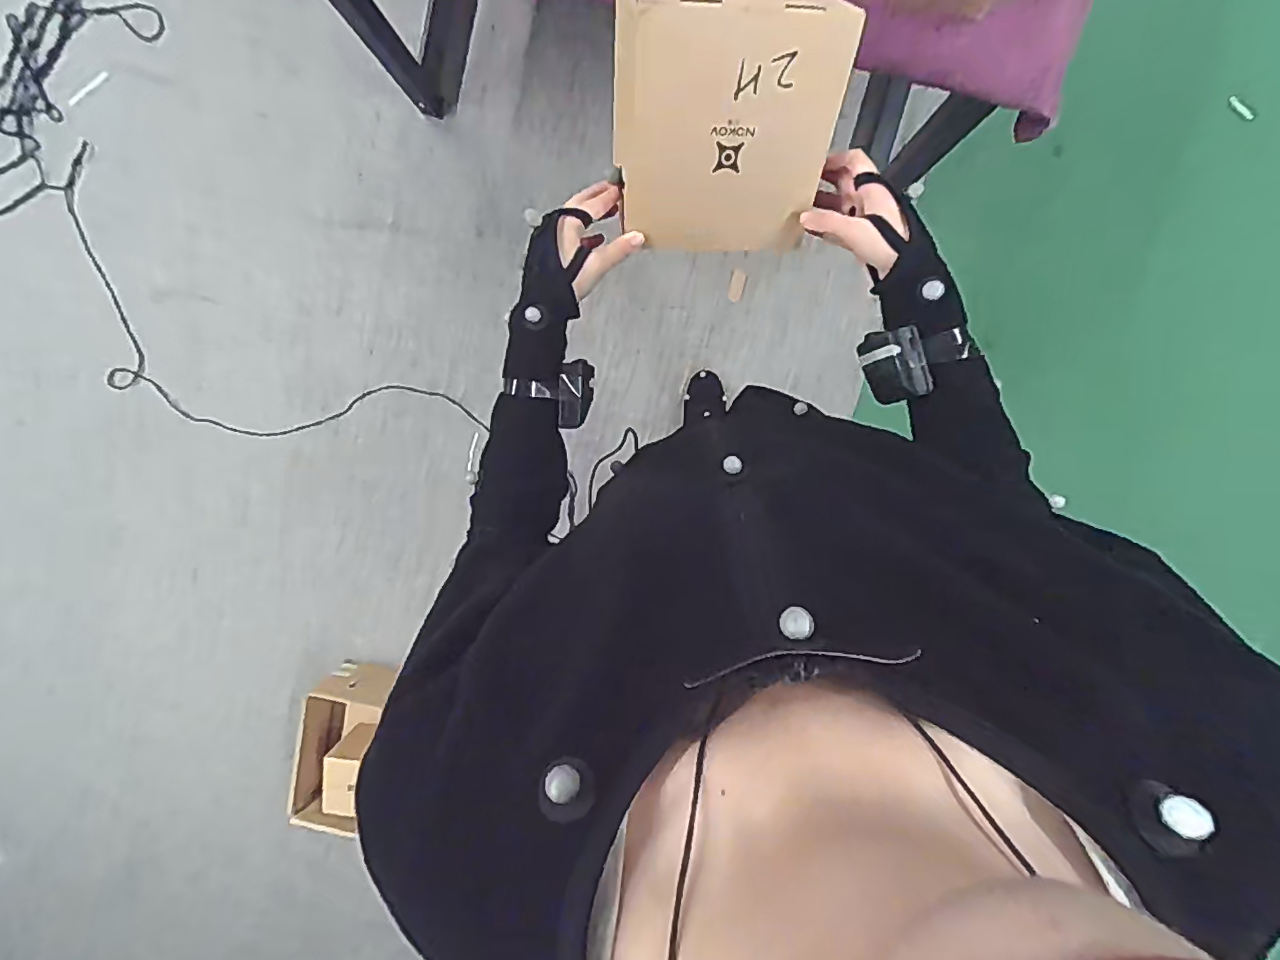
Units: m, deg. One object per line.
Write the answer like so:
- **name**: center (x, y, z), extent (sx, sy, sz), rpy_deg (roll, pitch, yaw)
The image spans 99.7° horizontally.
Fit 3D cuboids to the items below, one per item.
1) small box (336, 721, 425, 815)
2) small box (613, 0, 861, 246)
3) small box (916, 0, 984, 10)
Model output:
- **small box**: center (-0.734, 0.816, 1.546), extent (0.179, 0.176, 0.168), rpy_deg (6, 97, 3)
- **small box**: center (0.065, -0.336, 0.487), extent (0.168, 0.176, 0.179), rpy_deg (-3, 139, -6)
- **small box**: center (0.363, -0.667, 0.589), extent (0.179, 0.176, 0.168), rpy_deg (14, 99, 3)
